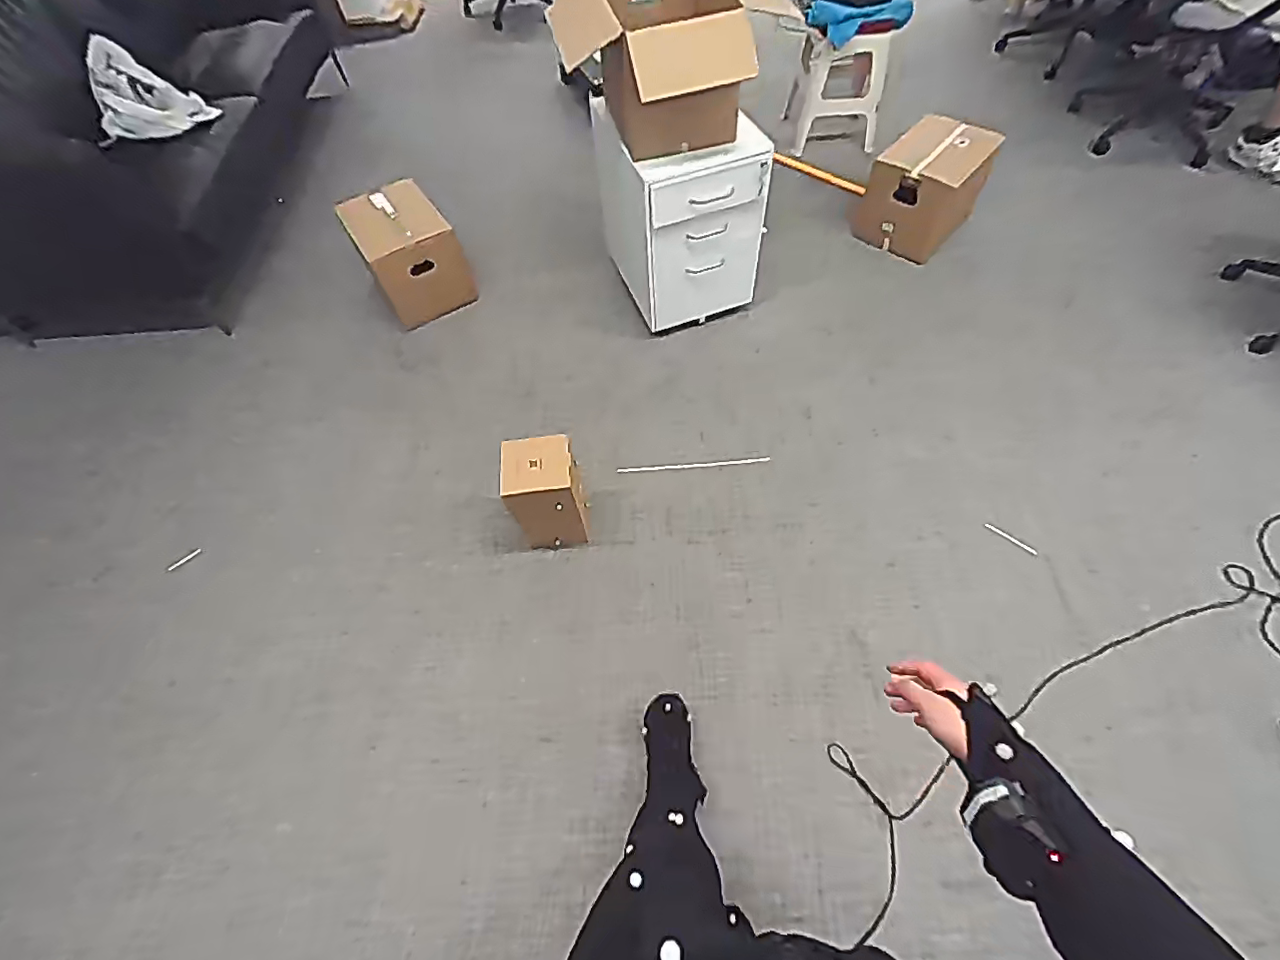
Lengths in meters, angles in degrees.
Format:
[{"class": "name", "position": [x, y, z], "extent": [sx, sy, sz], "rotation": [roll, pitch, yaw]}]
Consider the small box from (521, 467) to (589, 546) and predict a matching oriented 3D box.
[{"class": "small box", "position": [-0.242, 0.081, 1.565], "extent": [0.179, 0.176, 0.168], "rotation": [-5, 58, 1]}]

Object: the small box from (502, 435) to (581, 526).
[{"class": "small box", "position": [-0.252, 0.005, 1.420], "extent": [0.179, 0.176, 0.168], "rotation": [-9, 57, 1]}]
